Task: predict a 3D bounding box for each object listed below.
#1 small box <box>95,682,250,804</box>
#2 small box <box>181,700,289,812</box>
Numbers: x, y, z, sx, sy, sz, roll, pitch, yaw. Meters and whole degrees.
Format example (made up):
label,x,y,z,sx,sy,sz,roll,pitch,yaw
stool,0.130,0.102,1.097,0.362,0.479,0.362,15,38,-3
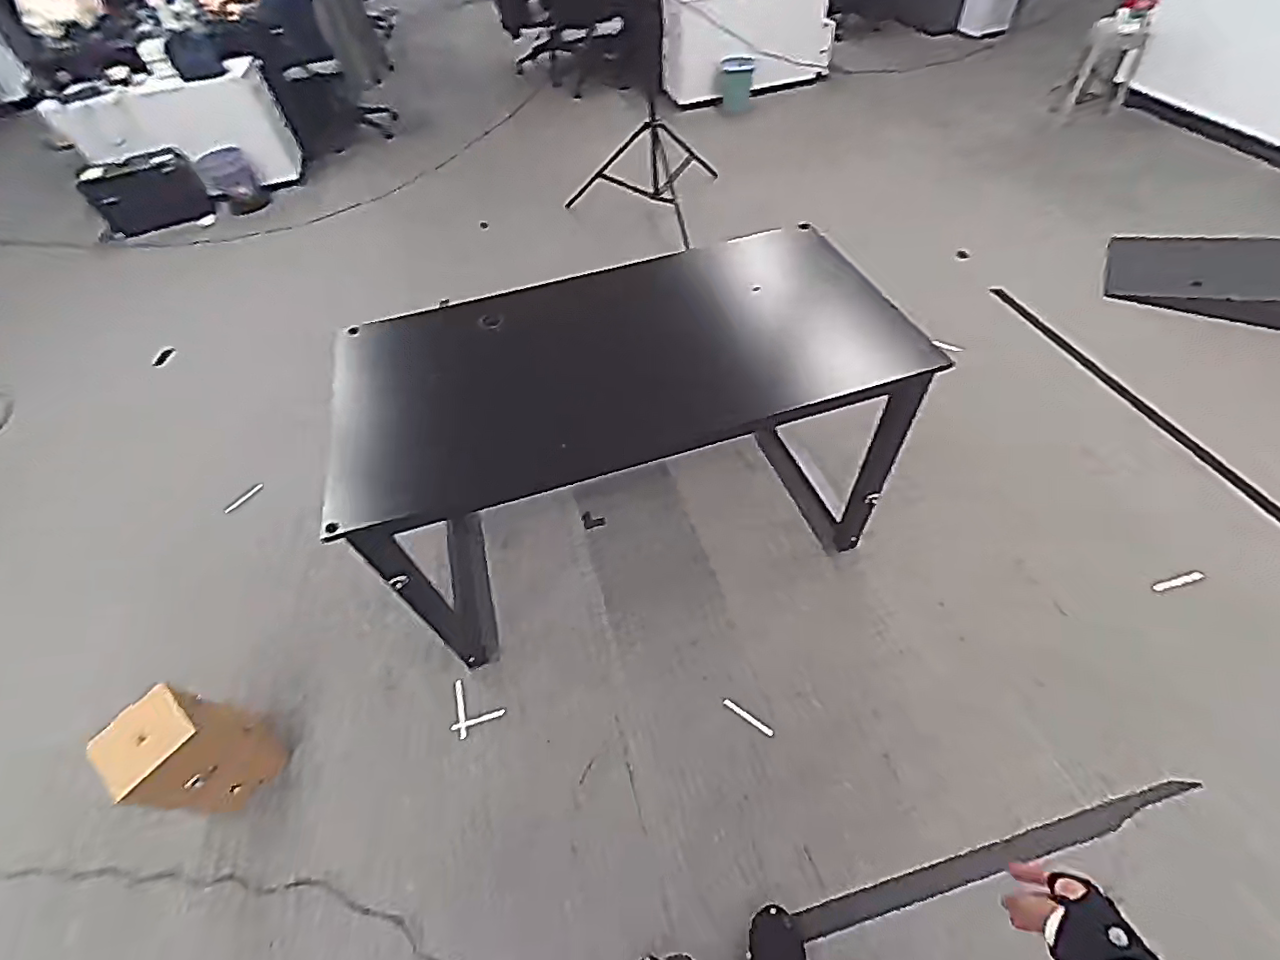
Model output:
label,x,y,z,sx,sy,sz,roll,pitch,yaw
small box,-1.031,0.590,1.205,0.179,0.176,0.168,30,62,24
small box,-1.018,0.687,1.336,0.179,0.176,0.168,34,61,28
